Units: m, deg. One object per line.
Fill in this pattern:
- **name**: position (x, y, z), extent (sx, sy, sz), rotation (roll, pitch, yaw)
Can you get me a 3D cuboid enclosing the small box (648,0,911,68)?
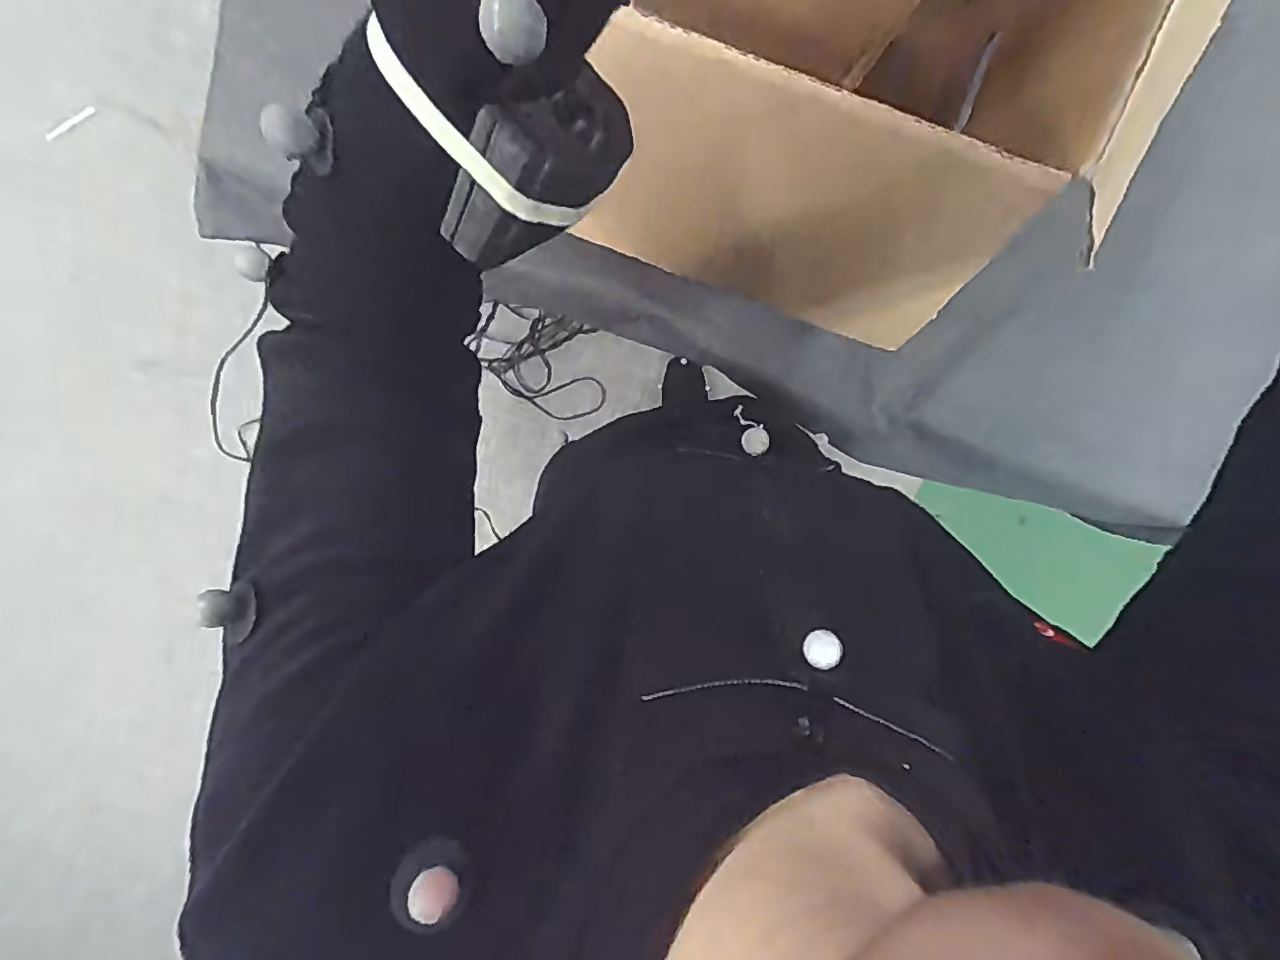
- **small box**: position (0.101, -0.370, 0.291), extent (0.179, 0.176, 0.168), rotation (19, 101, -2)
